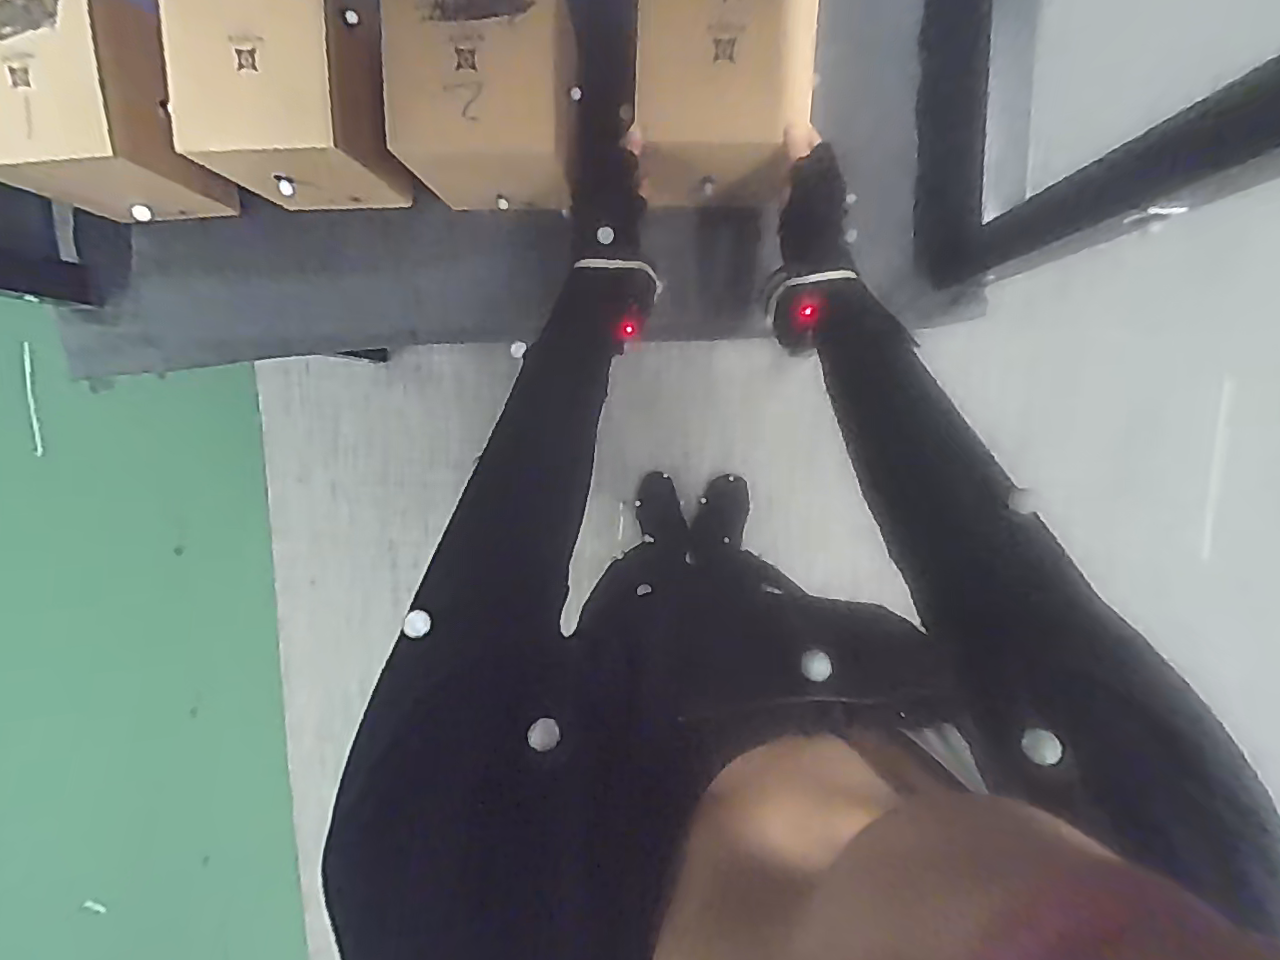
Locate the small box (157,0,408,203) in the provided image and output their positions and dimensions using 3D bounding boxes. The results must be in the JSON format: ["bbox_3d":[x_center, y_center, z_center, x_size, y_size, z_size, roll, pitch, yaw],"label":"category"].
[{"bbox_3d":[-0.374,-0.423,0.597,0.168,0.176,0.179,0,97,2],"label":"small box"}]

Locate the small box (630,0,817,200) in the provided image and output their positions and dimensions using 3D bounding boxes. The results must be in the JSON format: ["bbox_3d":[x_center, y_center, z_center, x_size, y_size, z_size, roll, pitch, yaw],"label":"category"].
[{"bbox_3d":[0.081,-0.416,0.571,0.168,0.176,0.179,3,97,2],"label":"small box"}]

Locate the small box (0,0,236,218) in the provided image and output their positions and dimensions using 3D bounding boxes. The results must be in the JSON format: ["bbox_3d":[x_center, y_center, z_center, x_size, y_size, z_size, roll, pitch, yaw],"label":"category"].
[{"bbox_3d":[-0.600,-0.417,0.605,0.168,0.176,0.179,-2,97,3],"label":"small box"}]
